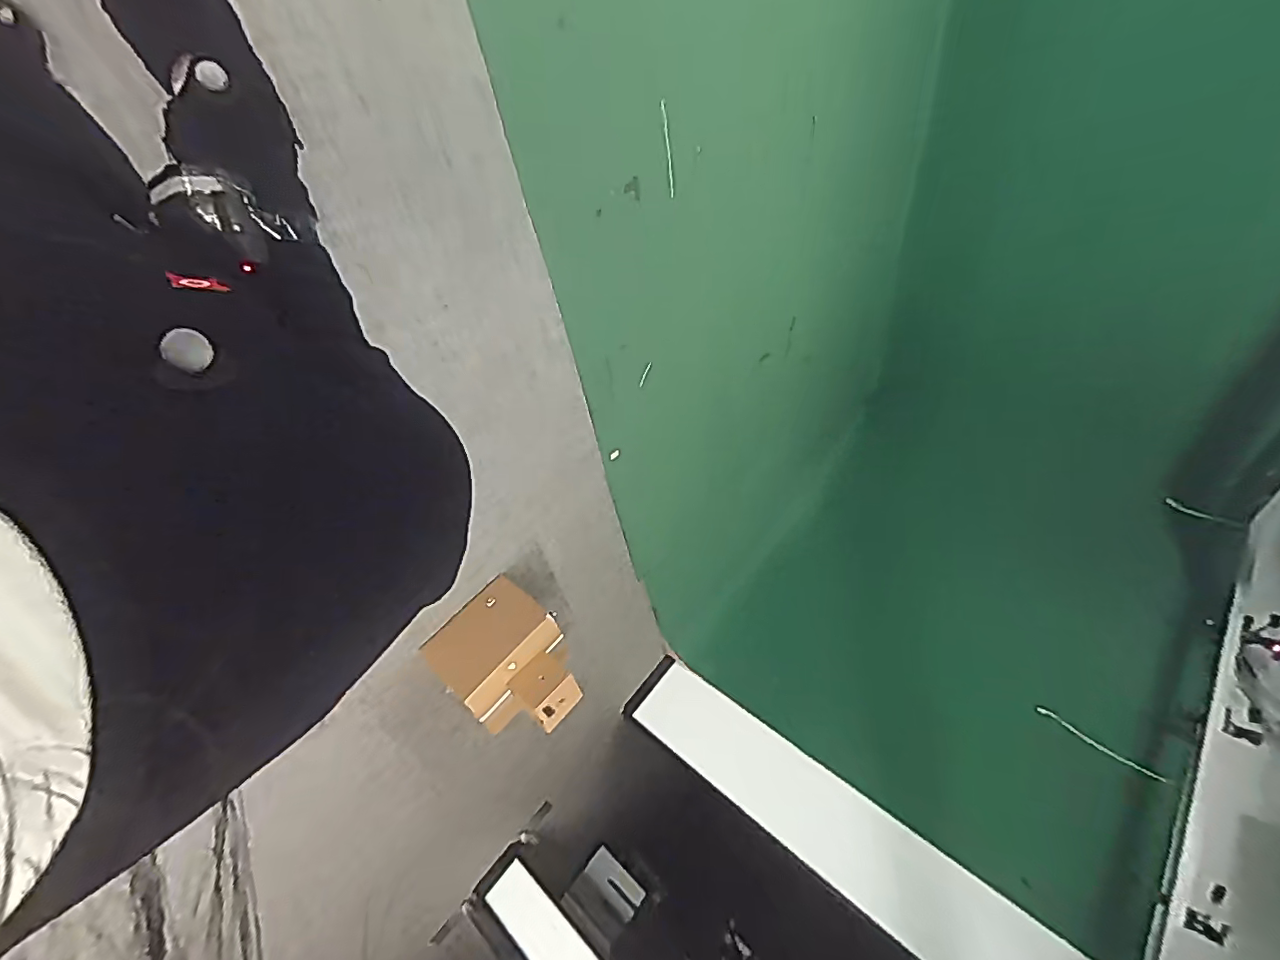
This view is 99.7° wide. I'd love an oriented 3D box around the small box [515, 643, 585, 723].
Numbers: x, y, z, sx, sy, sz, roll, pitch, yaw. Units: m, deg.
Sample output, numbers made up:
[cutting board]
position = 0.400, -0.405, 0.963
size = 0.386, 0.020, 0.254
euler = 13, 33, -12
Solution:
[small box]
position = -0.331, 0.733, 1.965
size = 0.179, 0.176, 0.168
euler = -39, 136, -31
